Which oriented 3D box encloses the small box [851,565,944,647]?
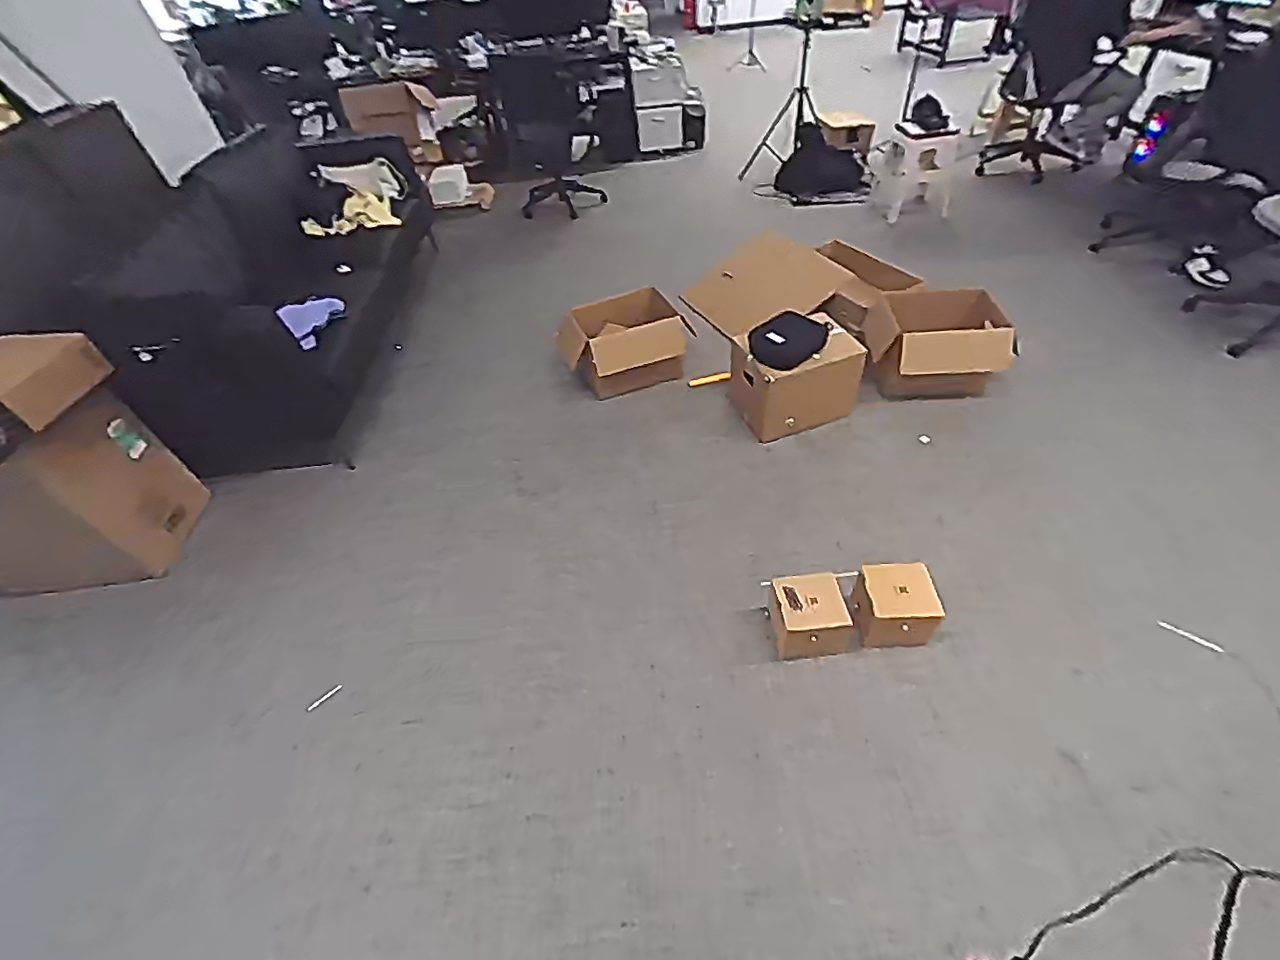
[{"bbox_3d":[0.709,0.354,1.509,0.179,0.176,0.168,-4,46,5],"label":"small box"}]

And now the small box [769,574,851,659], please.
[{"bbox_3d":[0.465,0.385,1.511,0.179,0.176,0.168,-6,46,0],"label":"small box"}]
